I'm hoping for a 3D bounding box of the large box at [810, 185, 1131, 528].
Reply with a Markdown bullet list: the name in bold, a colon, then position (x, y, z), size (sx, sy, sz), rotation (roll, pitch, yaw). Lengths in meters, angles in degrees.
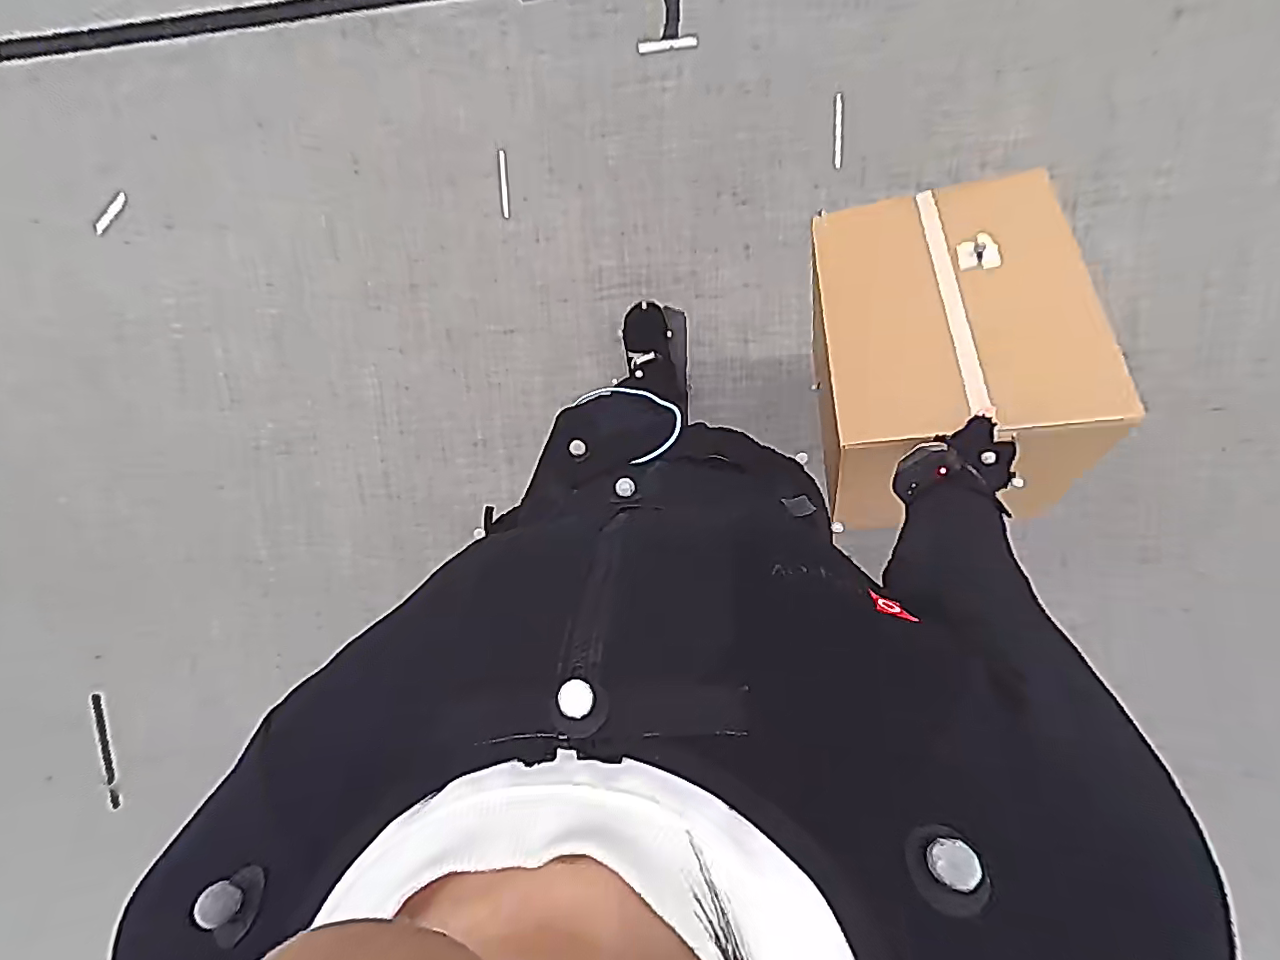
- **large box**: position (0.450, -0.171, 0.856), size (0.320, 0.320, 0.408), rotation (-5, 63, 14)
